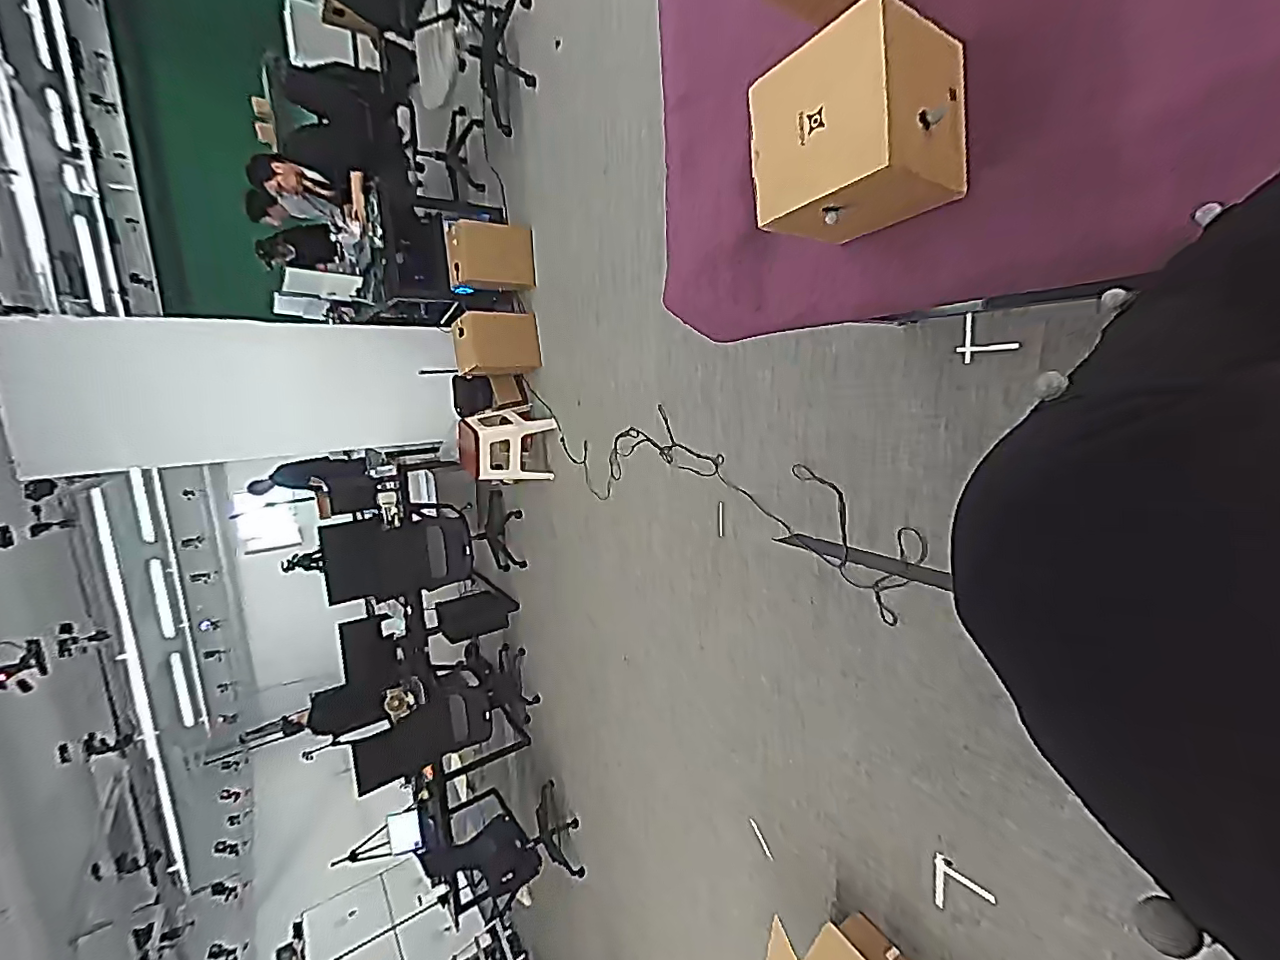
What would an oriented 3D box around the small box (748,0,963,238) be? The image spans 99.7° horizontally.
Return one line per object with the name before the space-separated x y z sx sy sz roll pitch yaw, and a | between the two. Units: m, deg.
small box | 0.252 -0.398 0.629 0.179 0.176 0.168 3 100 56
